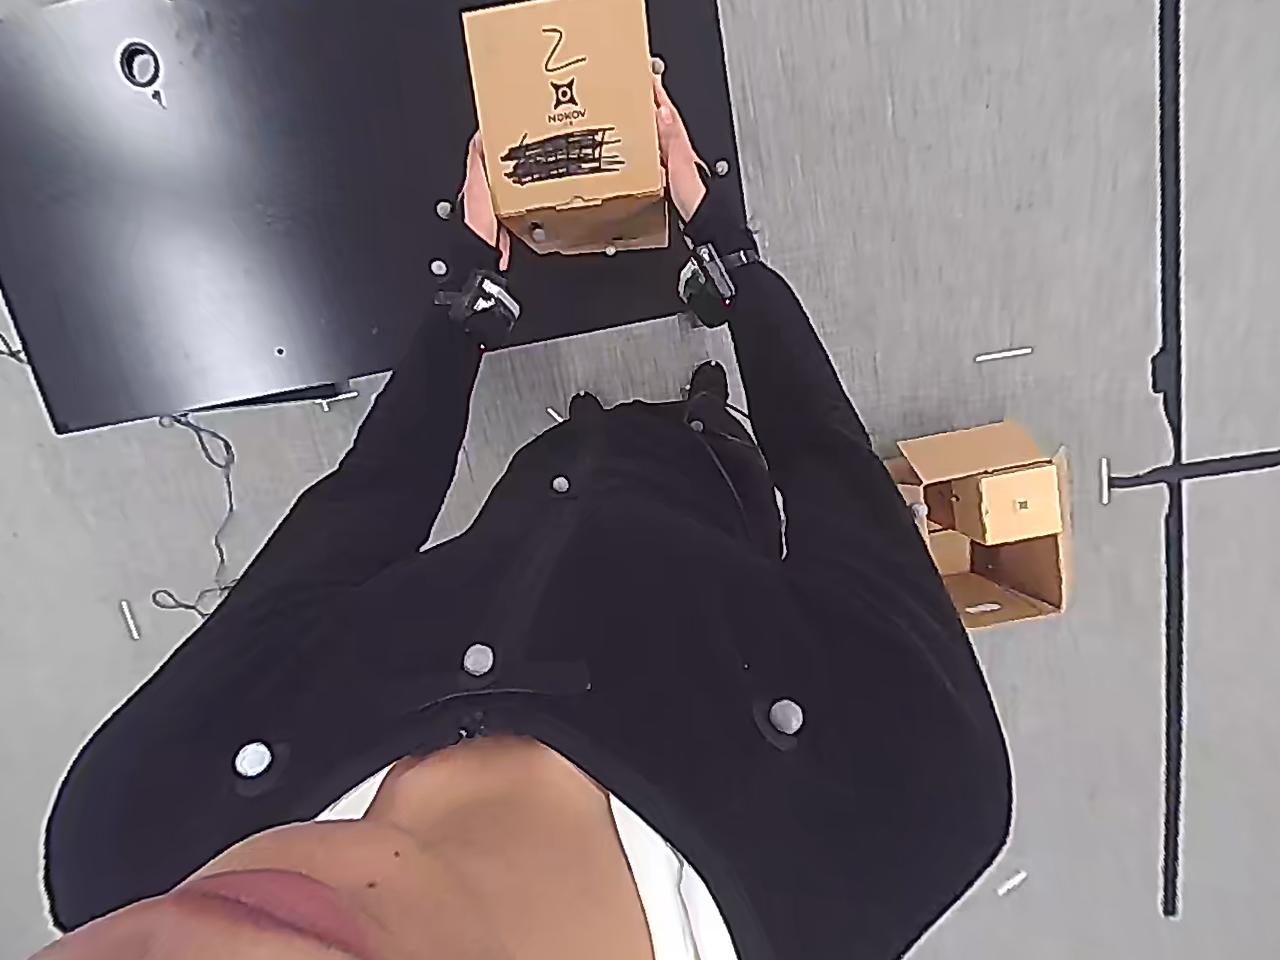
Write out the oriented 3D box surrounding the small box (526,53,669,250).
[{"bbox_3d":[-0.047,-0.421,0.721,0.168,0.176,0.179,-2,102,4],"label":"small box"}]
